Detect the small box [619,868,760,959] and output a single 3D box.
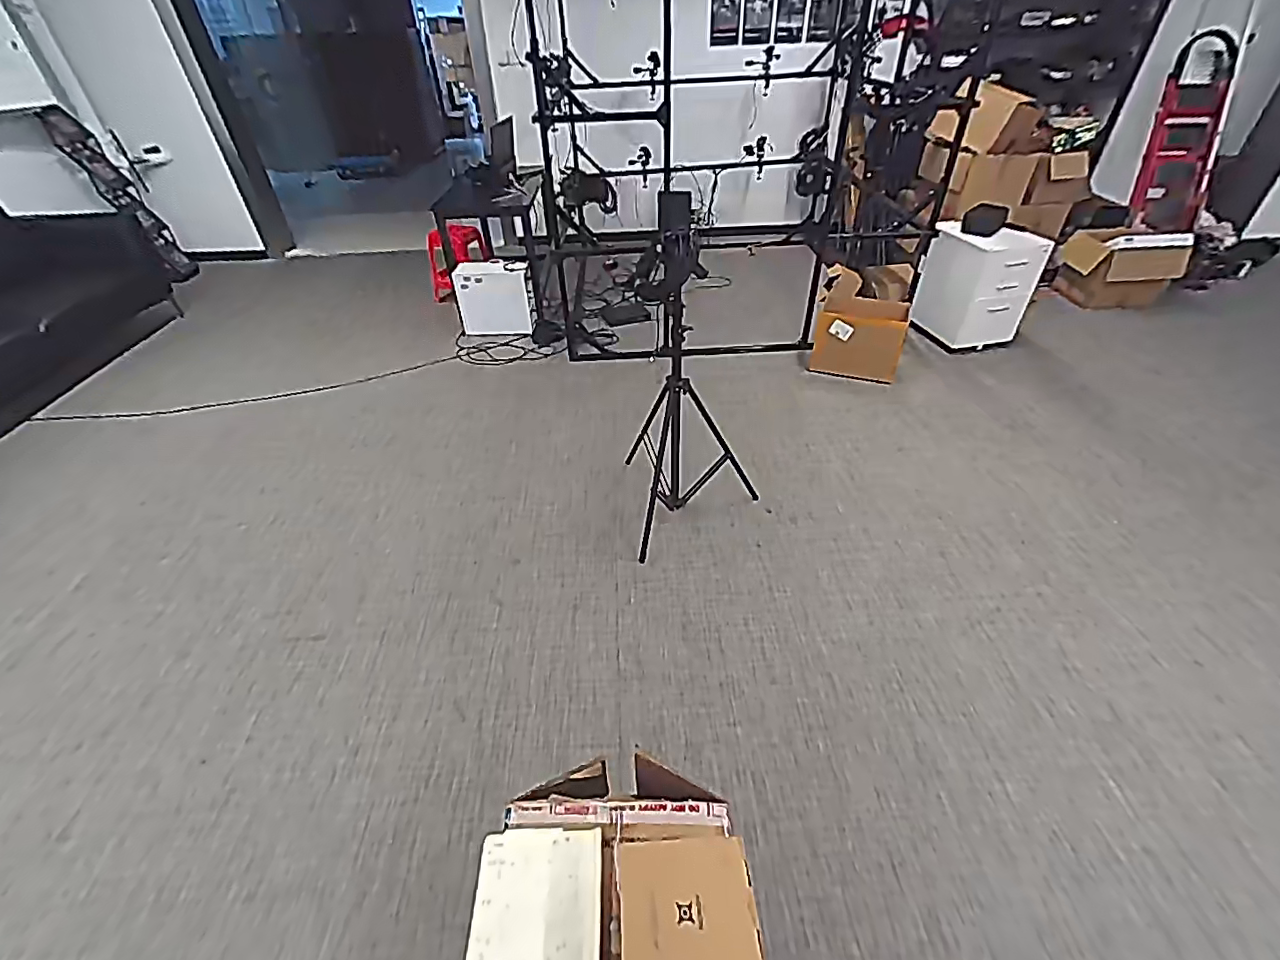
[{"bbox_3d":[0.062,0.648,0.730,0.179,0.176,0.168,-3,41,-3],"label":"small box"}]
